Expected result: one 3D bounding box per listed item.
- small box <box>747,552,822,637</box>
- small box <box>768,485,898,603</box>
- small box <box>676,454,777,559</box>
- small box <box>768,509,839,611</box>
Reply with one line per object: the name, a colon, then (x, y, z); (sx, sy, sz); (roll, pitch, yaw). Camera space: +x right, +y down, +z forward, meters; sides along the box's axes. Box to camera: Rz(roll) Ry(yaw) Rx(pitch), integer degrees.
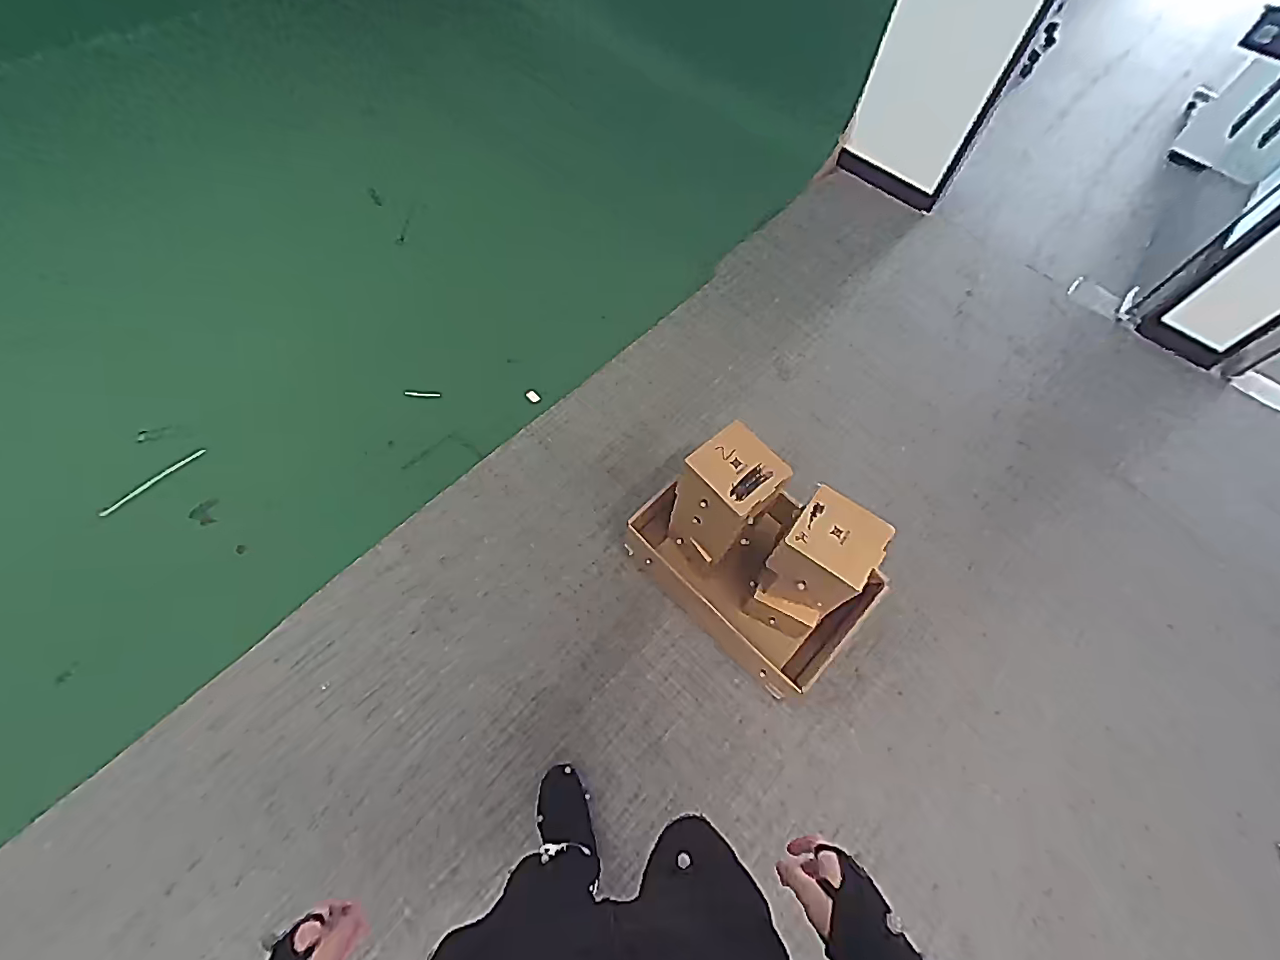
small box: (0.399, 0.298, 1.449); (0.168, 0.176, 0.179); (26, 66, 11)
small box: (0.405, 0.146, 1.160); (0.179, 0.176, 0.168); (35, 68, 13)
small box: (0.209, 0.073, 1.369); (0.168, 0.176, 0.179); (-38, 73, -19)
small box: (0.419, 0.201, 1.316); (0.168, 0.176, 0.179); (17, 64, 6)
